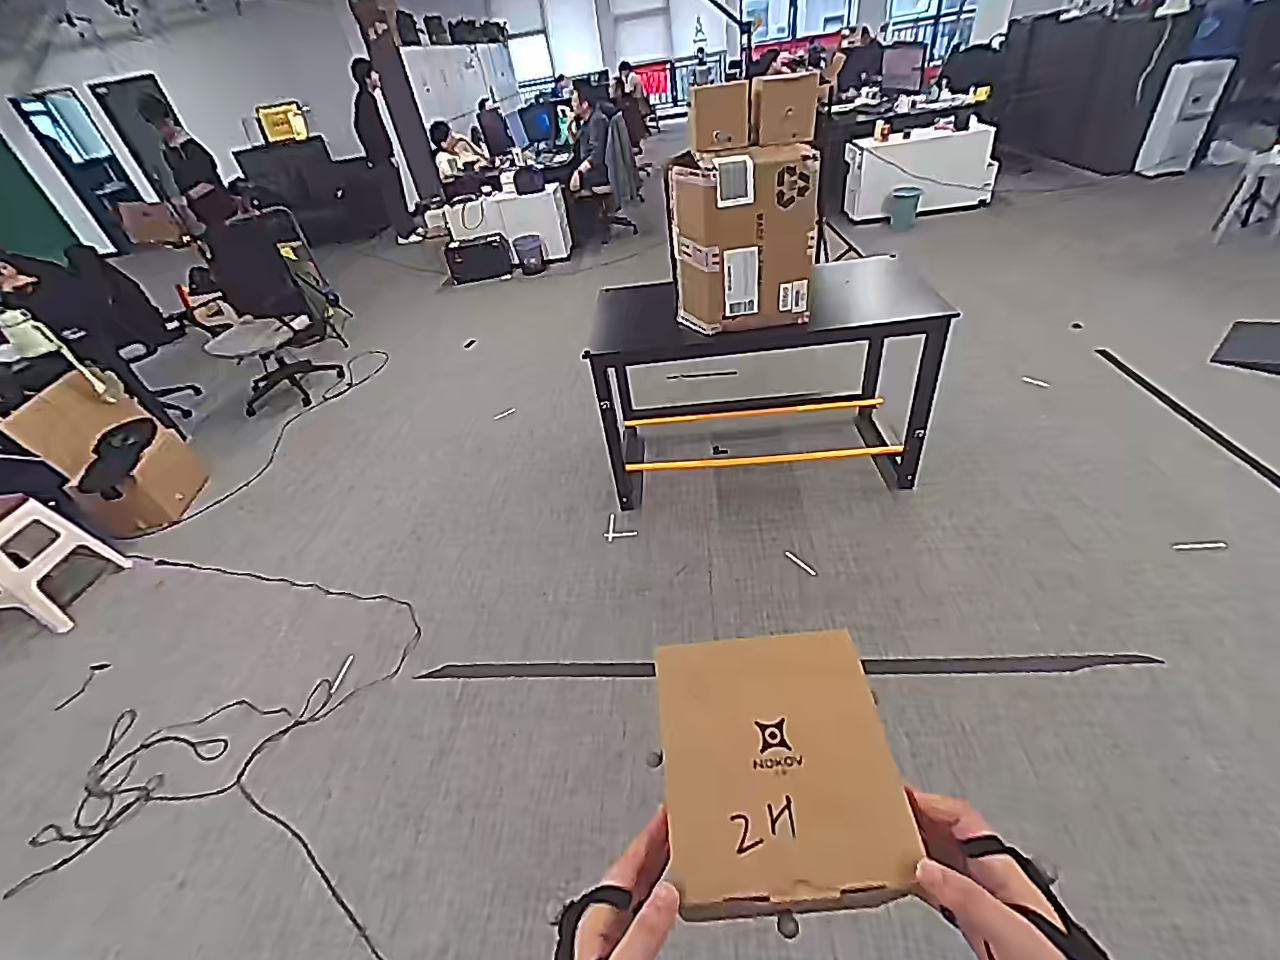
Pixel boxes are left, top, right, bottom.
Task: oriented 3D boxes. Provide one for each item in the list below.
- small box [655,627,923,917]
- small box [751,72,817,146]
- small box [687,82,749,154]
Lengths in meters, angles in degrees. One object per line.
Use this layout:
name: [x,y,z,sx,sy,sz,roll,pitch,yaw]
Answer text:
small box: [0.103,0.249,0.461,0.168,0.176,0.179,-7,47,3]
small box: [0.438,-1.144,1.671,0.168,0.176,0.179,-4,39,3]
small box: [0.241,-1.134,1.697,0.168,0.176,0.179,-8,37,1]
